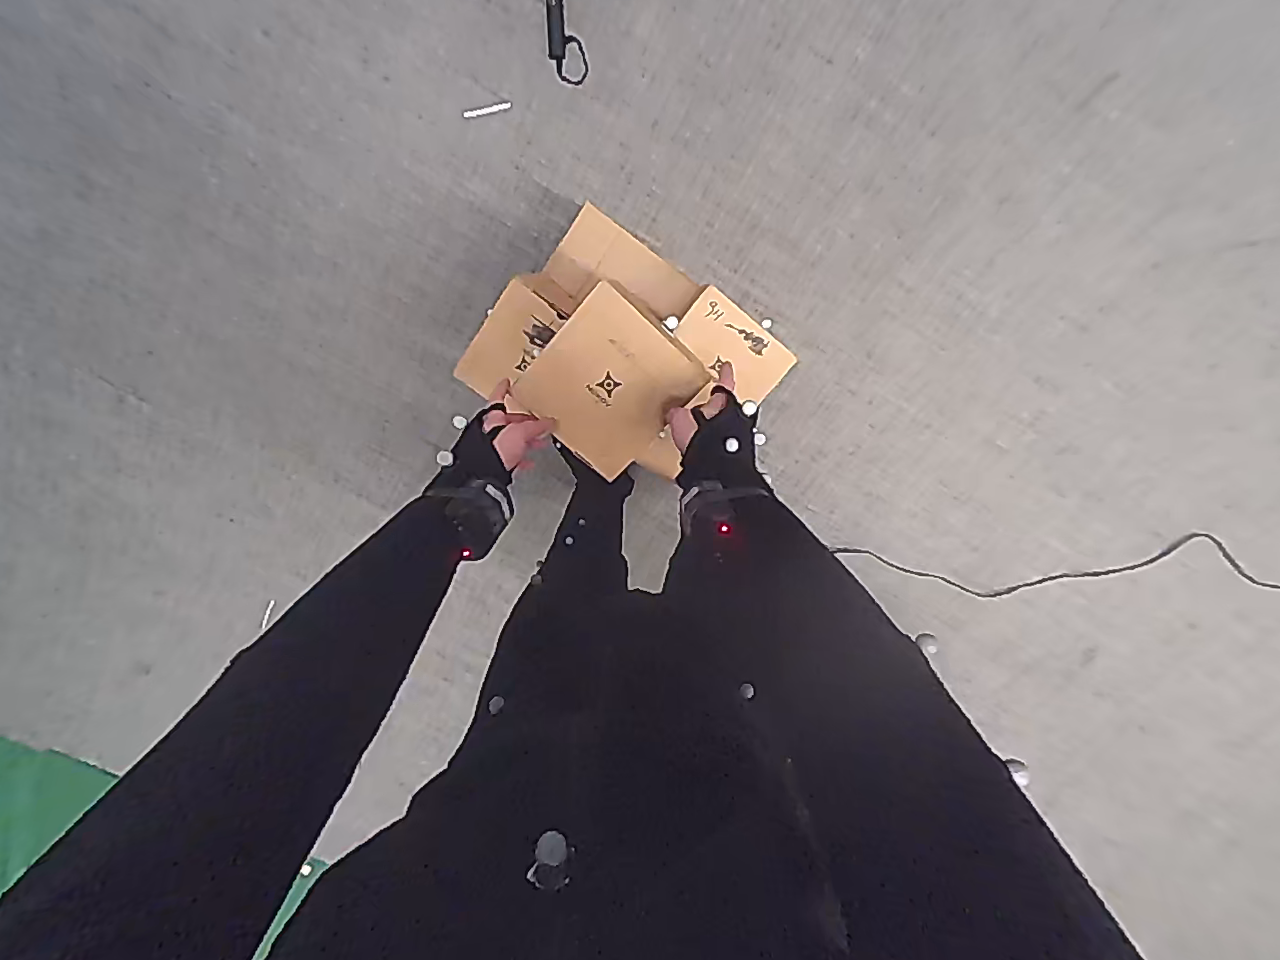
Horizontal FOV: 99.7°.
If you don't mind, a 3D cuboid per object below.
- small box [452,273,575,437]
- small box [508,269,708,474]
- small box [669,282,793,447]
[{"bbox_3d":[-0.156,-0.202,0.849,0.168,0.176,0.179,38,109,-10],"label":"small box"},{"bbox_3d":[-0.035,-0.141,0.692,0.168,0.176,0.179,40,104,-12],"label":"small box"},{"bbox_3d":[0.106,-0.183,0.845,0.168,0.176,0.179,37,106,-9],"label":"small box"}]
